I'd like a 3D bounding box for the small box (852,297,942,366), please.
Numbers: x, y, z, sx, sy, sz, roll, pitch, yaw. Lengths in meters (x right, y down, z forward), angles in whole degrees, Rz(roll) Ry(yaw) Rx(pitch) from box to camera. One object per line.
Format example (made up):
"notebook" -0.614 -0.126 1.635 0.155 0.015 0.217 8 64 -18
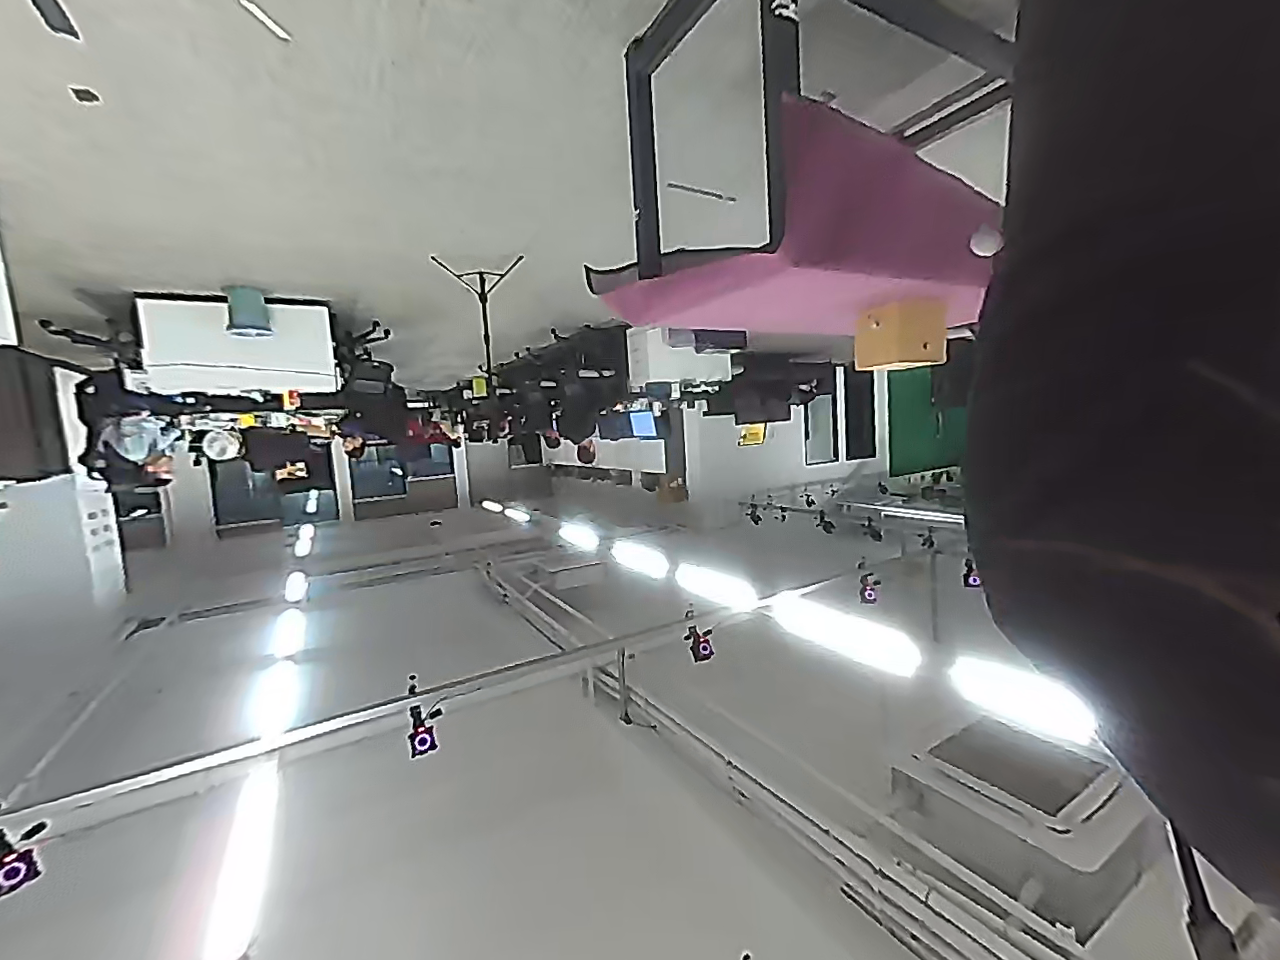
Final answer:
"small box" 0.730 -0.420 1.539 0.179 0.176 0.168 -6 -174 -20
